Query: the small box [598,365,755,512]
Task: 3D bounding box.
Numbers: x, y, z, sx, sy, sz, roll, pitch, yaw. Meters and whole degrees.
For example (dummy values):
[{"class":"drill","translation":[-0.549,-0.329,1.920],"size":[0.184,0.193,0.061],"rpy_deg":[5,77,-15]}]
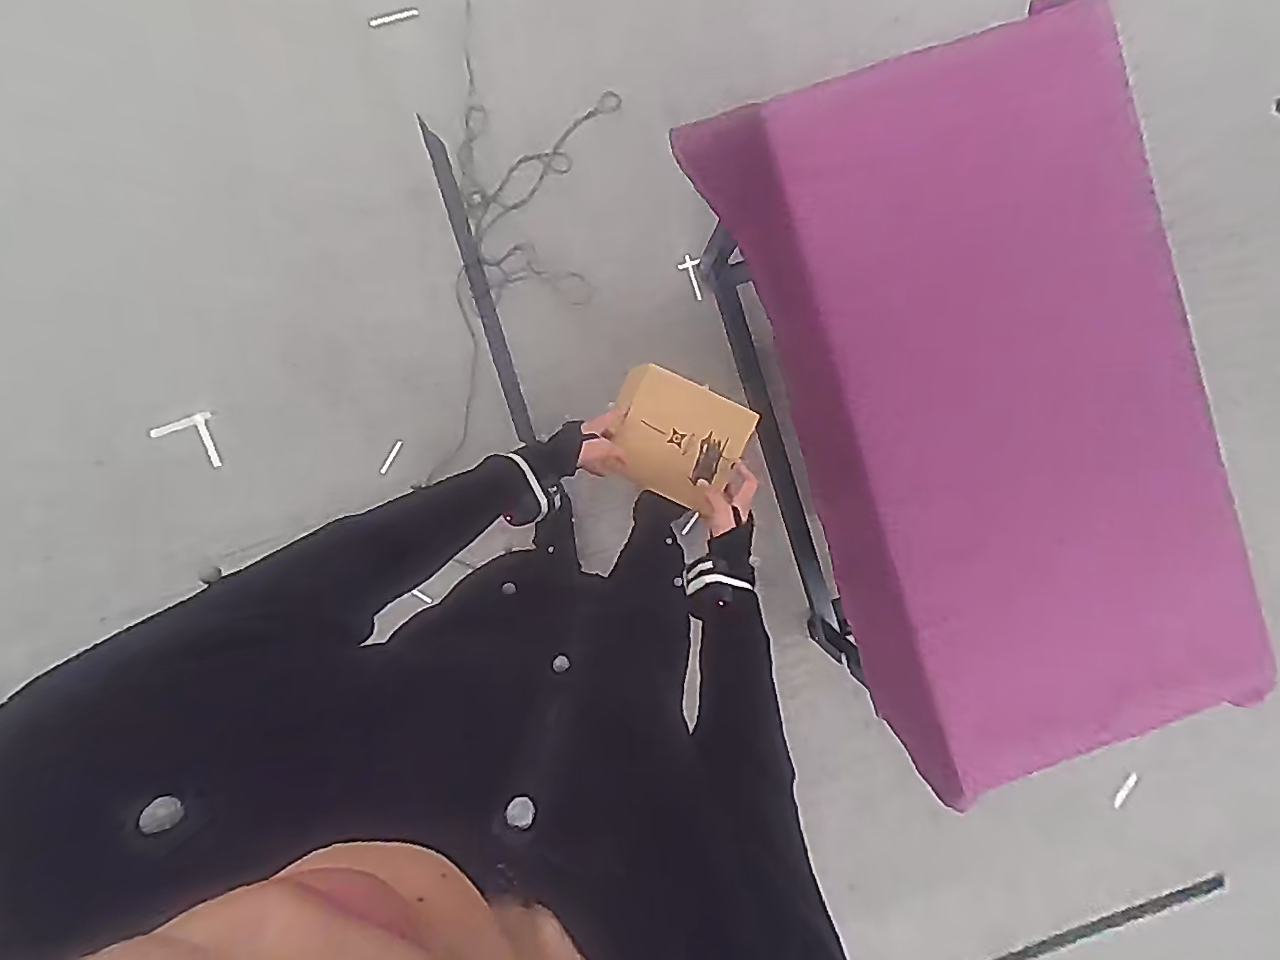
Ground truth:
[{"class":"small box","translation":[0.048,-0.072,0.862],"size":[0.179,0.176,0.168],"rpy_deg":[24,94,-13]}]
